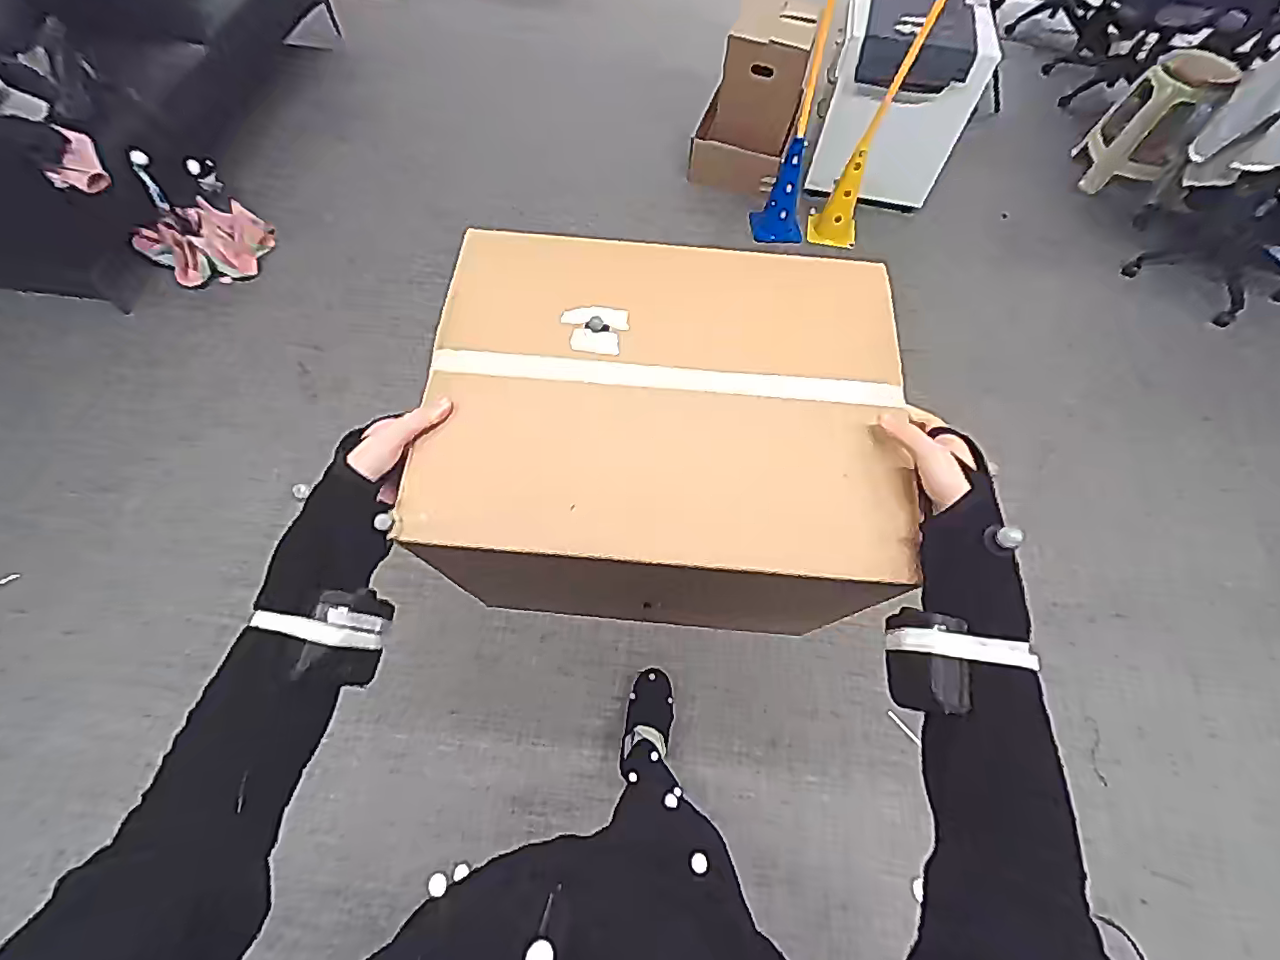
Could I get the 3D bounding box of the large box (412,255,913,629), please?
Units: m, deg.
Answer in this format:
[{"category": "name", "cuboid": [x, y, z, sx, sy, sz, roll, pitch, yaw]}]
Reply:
[{"category": "large box", "cuboid": [0.027, -0.014, 0.617, 0.408, 0.320, 0.320, 5, 66, 1]}]
